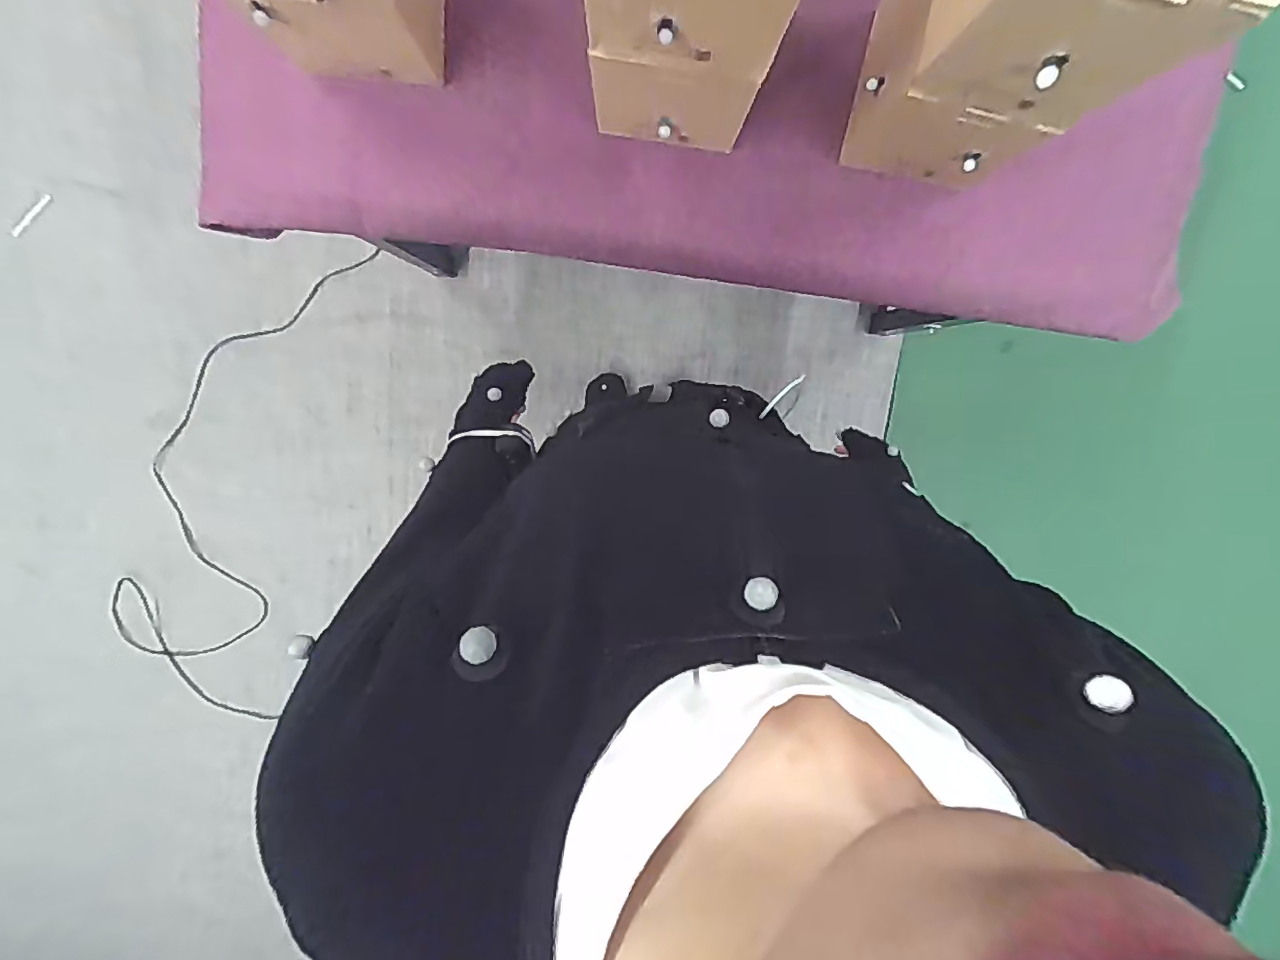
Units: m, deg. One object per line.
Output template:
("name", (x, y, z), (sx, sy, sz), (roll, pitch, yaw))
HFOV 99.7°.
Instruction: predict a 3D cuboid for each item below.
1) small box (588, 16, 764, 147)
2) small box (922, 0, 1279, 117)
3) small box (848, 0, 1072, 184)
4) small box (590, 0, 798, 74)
("small box", (0.043, -0.481, 0.556), (0.168, 0.176, 0.179), (8, 102, -2))
("small box", (0.348, -0.415, 0.409), (0.168, 0.176, 0.179), (11, 101, -4))
("small box", (0.343, -0.443, 0.571), (0.168, 0.176, 0.179), (12, 100, -4))
("small box", (0.047, -0.449, 0.396), (0.168, 0.176, 0.179), (6, 102, -3))
